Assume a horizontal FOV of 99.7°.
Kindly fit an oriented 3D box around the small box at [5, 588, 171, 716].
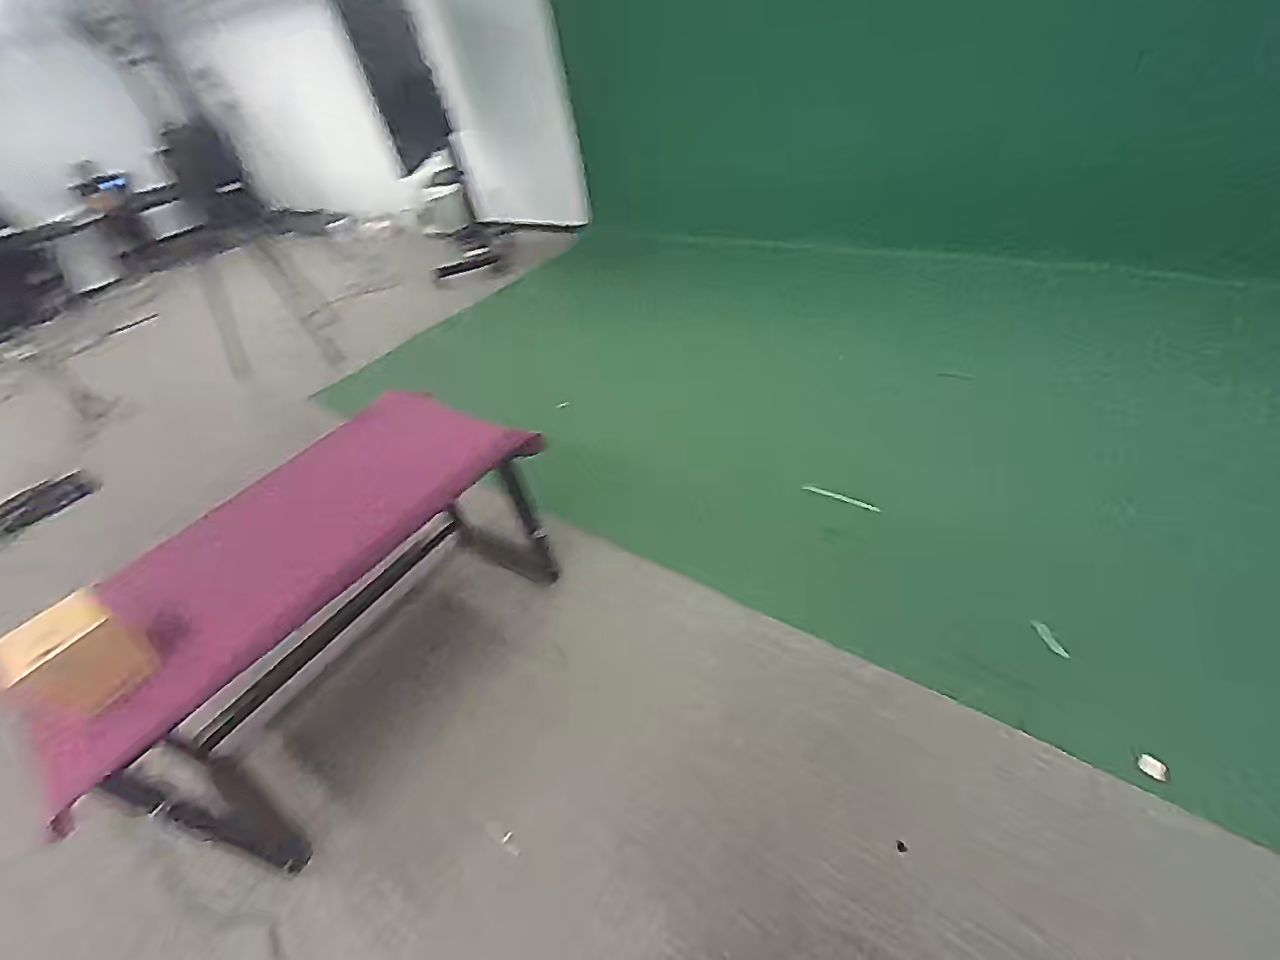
[{"bbox_3d":[-1.168,0.368,1.154,0.179,0.176,0.168,18,50,31],"label":"small box"}]
